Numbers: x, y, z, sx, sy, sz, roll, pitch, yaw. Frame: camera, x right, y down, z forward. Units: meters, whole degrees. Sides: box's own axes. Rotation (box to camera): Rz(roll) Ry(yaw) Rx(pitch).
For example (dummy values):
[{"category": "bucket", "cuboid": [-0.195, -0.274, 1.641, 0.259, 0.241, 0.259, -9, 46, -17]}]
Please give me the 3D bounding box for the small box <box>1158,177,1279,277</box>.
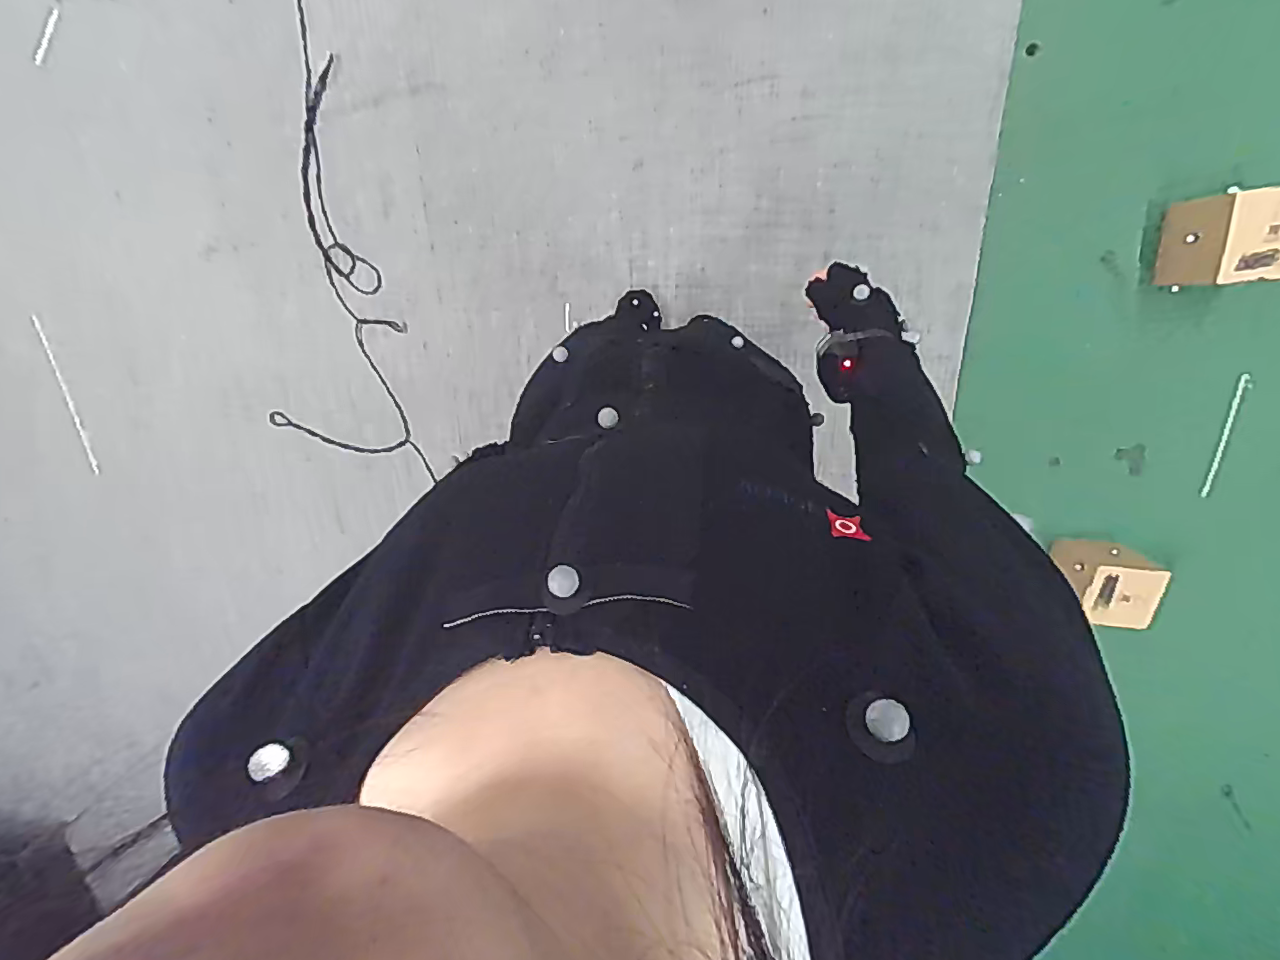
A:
[{"category": "small box", "cuboid": [1.251, -0.524, 1.133, 0.168, 0.176, 0.179, -3, 108, 6]}]
